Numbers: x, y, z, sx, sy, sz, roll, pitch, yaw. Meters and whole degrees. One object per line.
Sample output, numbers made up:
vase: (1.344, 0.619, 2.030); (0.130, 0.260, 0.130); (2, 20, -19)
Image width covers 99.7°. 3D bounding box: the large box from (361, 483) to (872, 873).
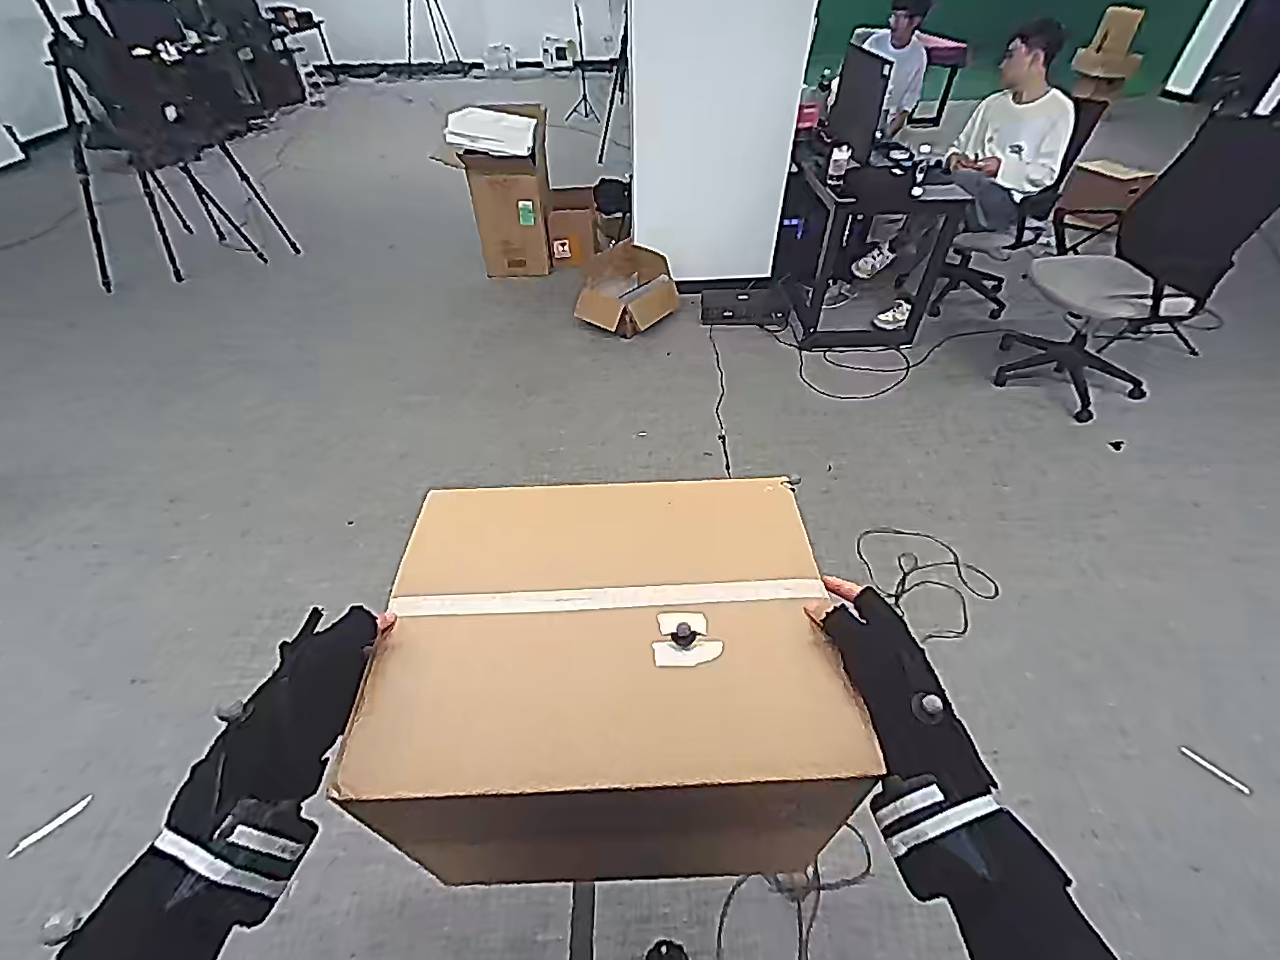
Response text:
large box: (-0.022, 0.223, 0.621); (0.408, 0.320, 0.320); (-2, 44, -1)
